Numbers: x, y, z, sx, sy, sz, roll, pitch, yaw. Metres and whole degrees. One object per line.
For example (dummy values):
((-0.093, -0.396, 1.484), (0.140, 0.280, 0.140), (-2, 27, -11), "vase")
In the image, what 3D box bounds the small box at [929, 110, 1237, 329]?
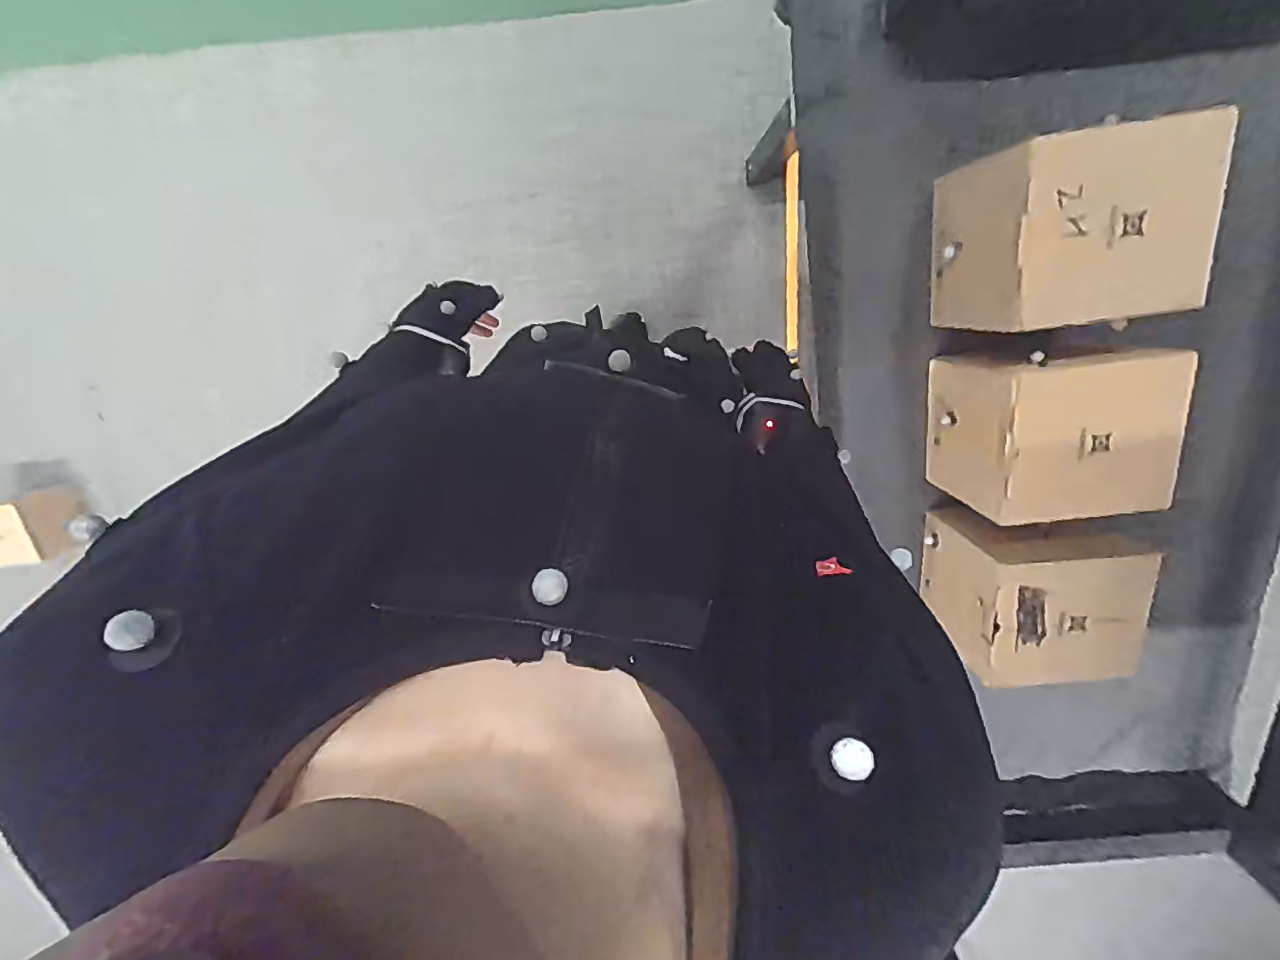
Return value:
((0.436, -0.257, 0.566), (0.179, 0.176, 0.168), (-7, 107, 3), "small box")
